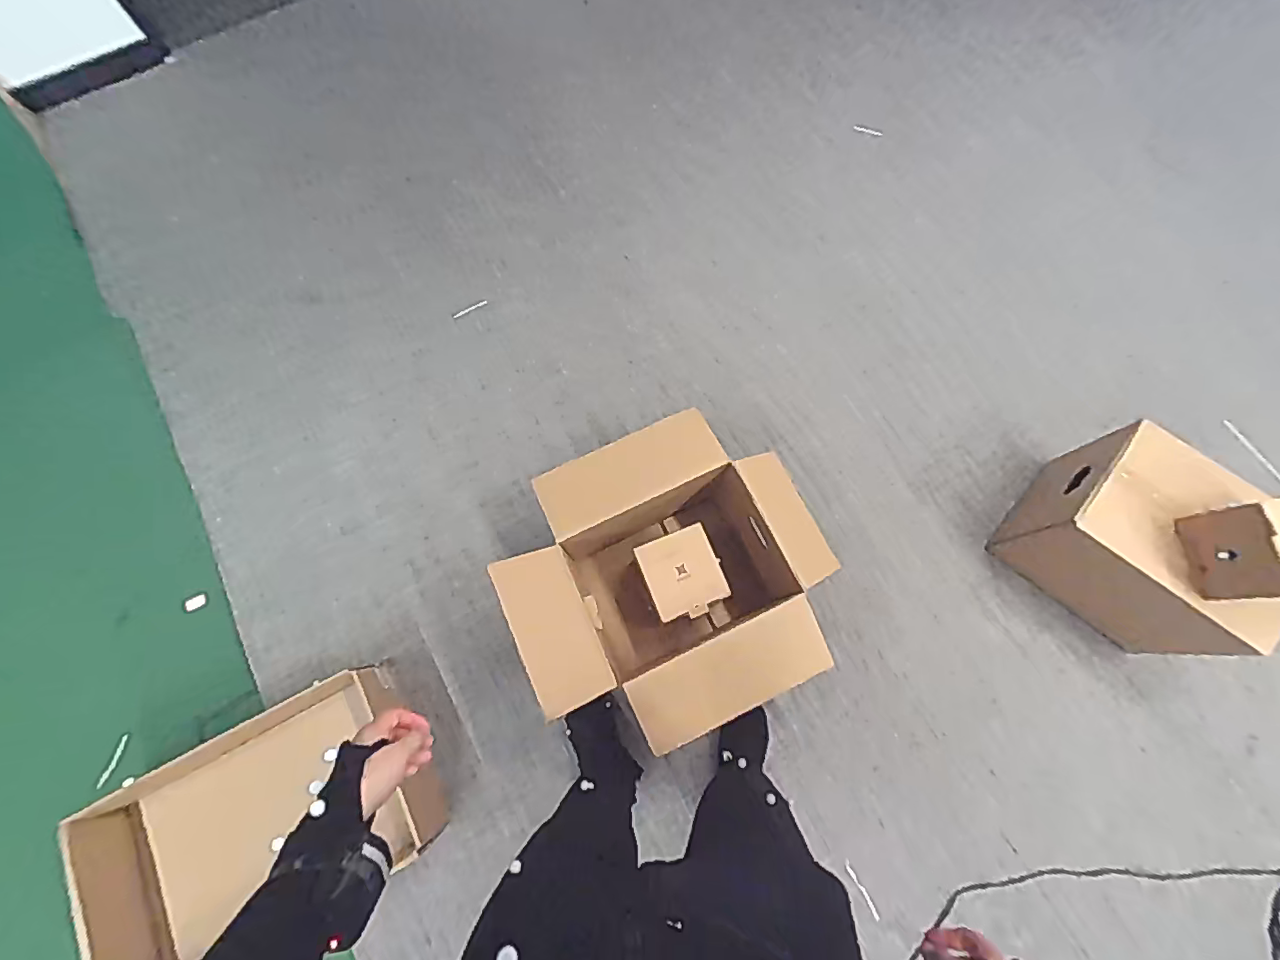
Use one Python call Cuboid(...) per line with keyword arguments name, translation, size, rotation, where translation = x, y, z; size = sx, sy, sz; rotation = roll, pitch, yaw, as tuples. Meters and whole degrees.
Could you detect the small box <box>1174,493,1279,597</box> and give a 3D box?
Cuboid(name="small box", translation=(1.158, 0.119, 1.001), size=(0.179, 0.176, 0.168), rotation=(-9, 74, 0))
